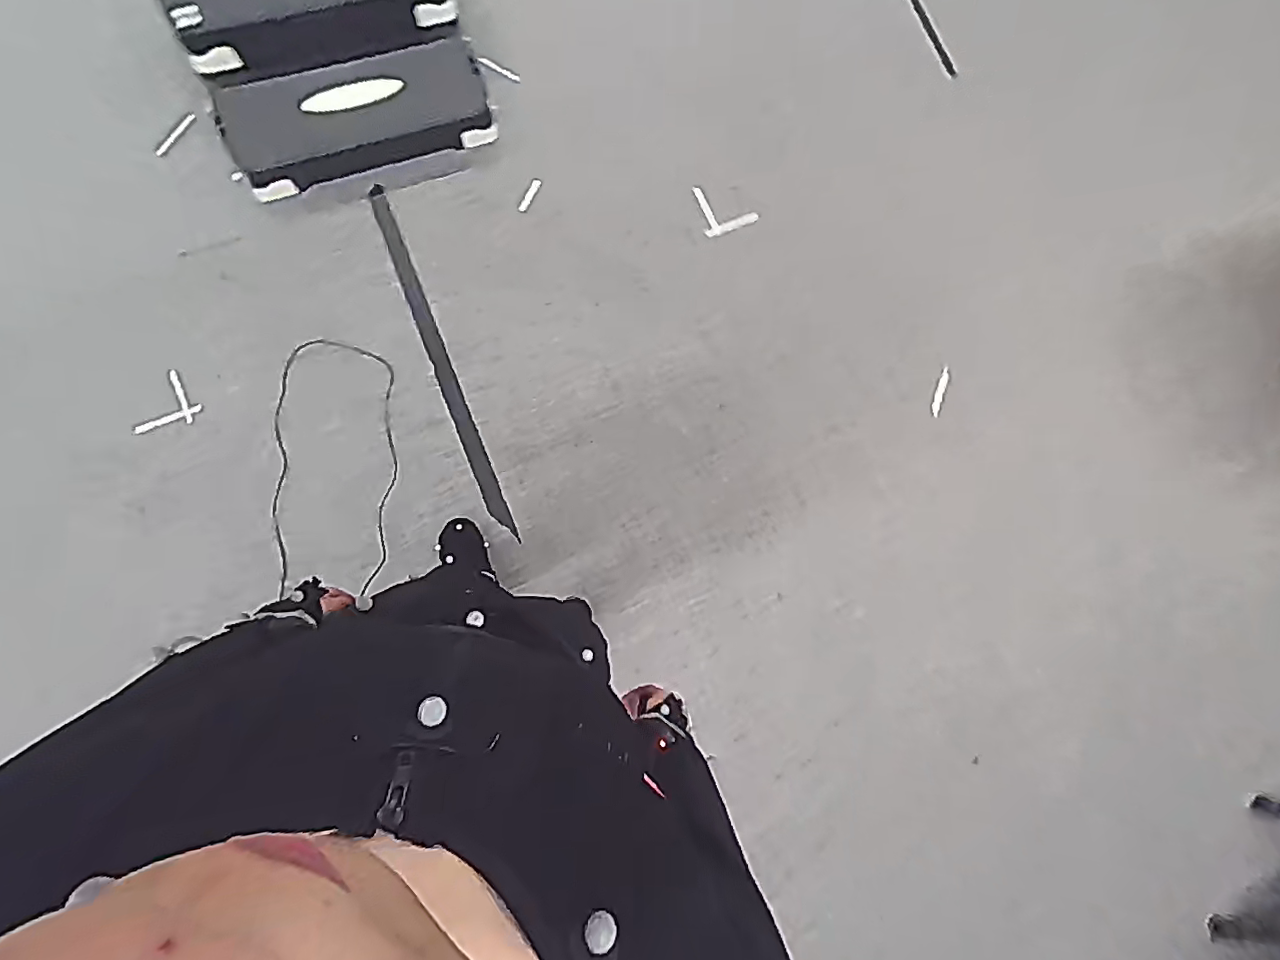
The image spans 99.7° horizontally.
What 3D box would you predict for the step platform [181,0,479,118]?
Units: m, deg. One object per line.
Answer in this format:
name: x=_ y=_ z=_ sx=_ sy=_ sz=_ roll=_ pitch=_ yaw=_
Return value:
step platform: x=-0.801 y=-1.213 z=1.443 sx=0.684 sy=0.204 sz=0.286 roll=-17 pitch=84 yaw=-11
